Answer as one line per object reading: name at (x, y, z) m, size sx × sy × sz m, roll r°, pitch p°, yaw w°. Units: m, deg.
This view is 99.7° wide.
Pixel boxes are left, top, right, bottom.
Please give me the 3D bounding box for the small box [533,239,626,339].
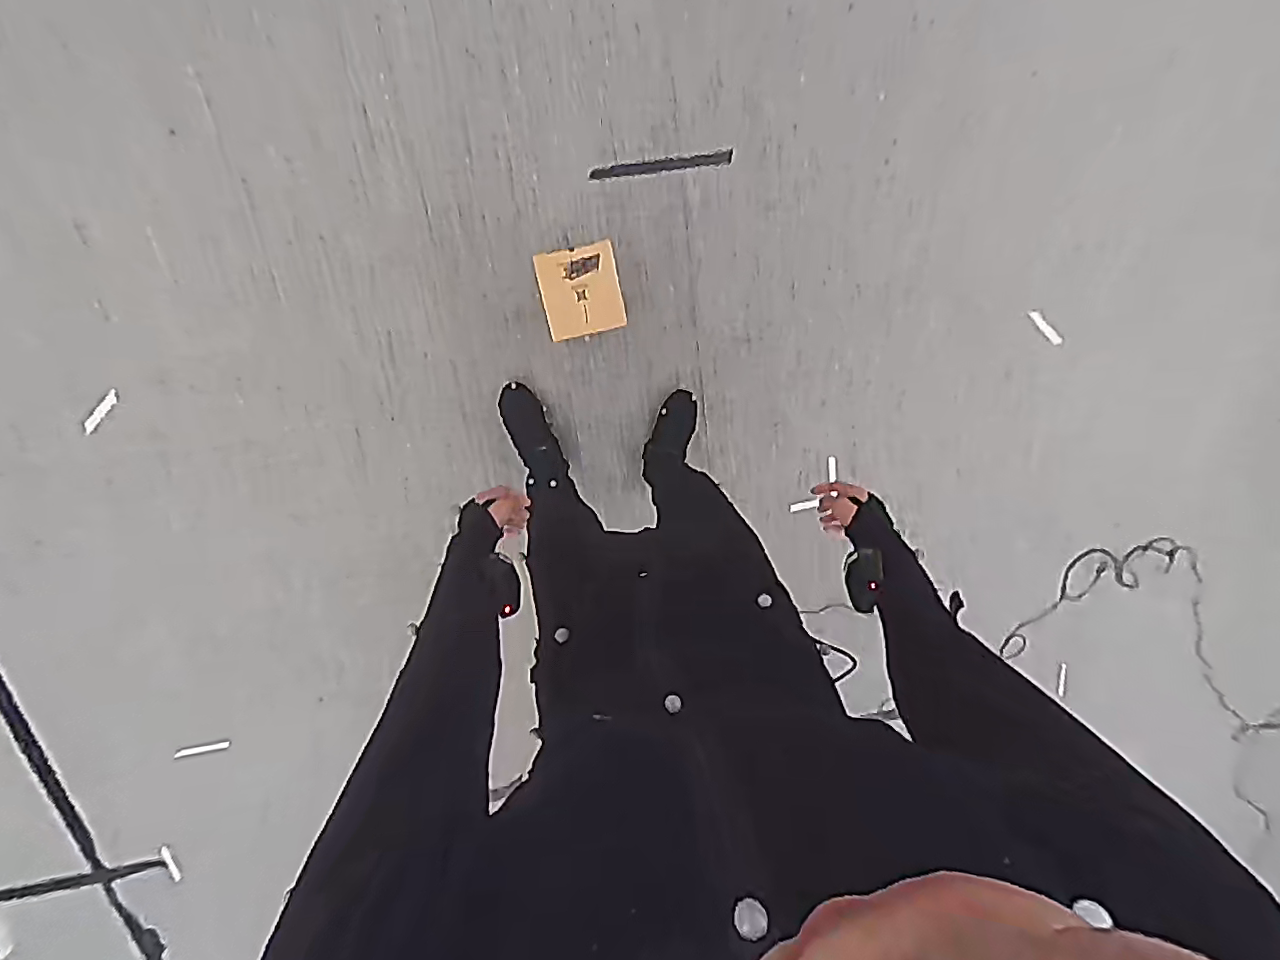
small box at (-0.136, -0.416, 1.199) m, size 0.168 × 0.176 × 0.179 m, roll -13°, pitch 108°, yaw -4°
